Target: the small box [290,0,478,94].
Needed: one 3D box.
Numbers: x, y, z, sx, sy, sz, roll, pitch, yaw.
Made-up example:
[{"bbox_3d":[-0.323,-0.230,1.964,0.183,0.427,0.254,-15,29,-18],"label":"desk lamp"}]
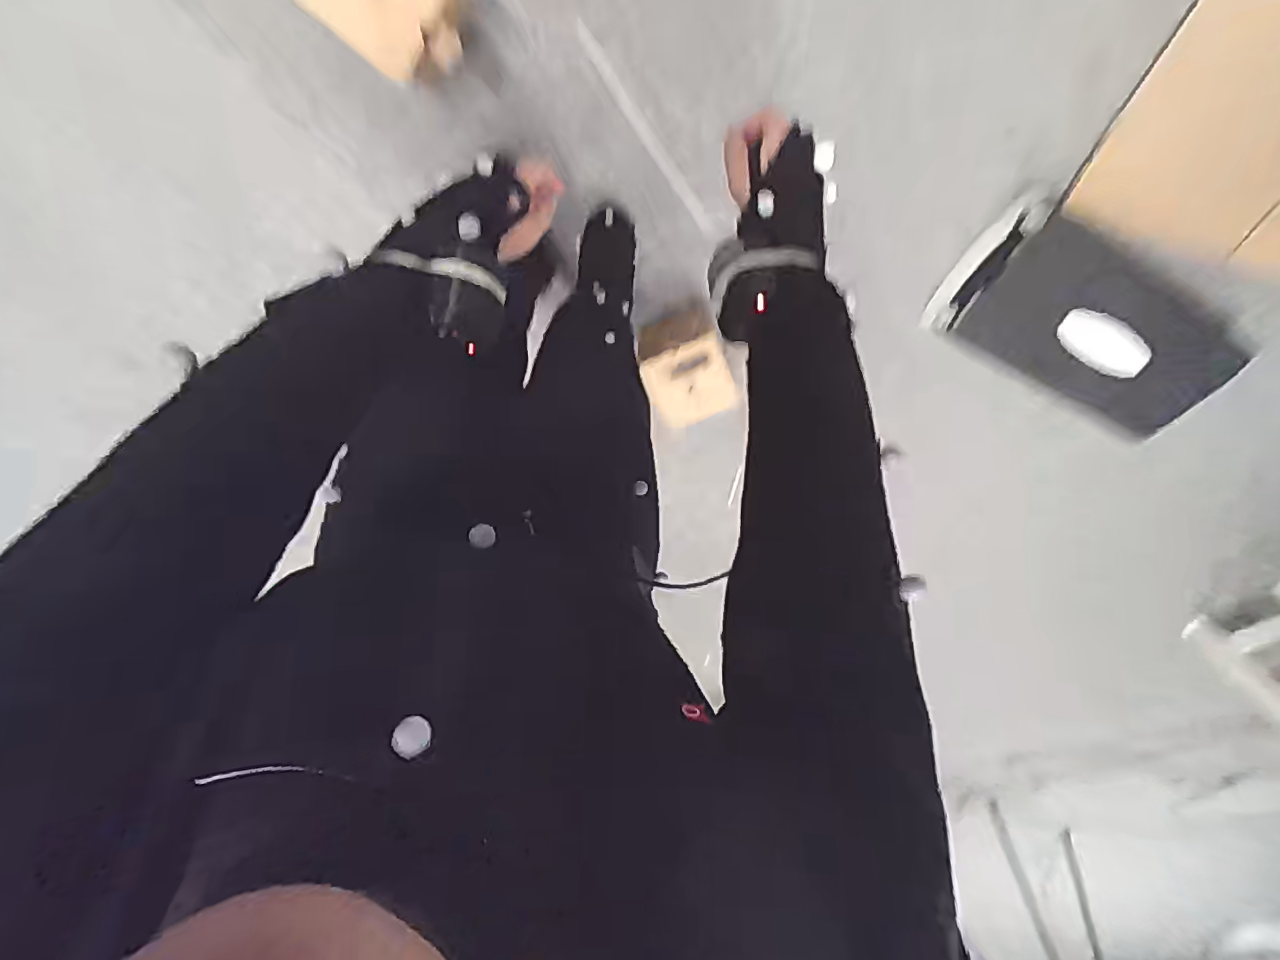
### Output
[{"bbox_3d":[-0.369,-0.718,0.802,0.179,0.176,0.168,33,122,-24],"label":"small box"}]
